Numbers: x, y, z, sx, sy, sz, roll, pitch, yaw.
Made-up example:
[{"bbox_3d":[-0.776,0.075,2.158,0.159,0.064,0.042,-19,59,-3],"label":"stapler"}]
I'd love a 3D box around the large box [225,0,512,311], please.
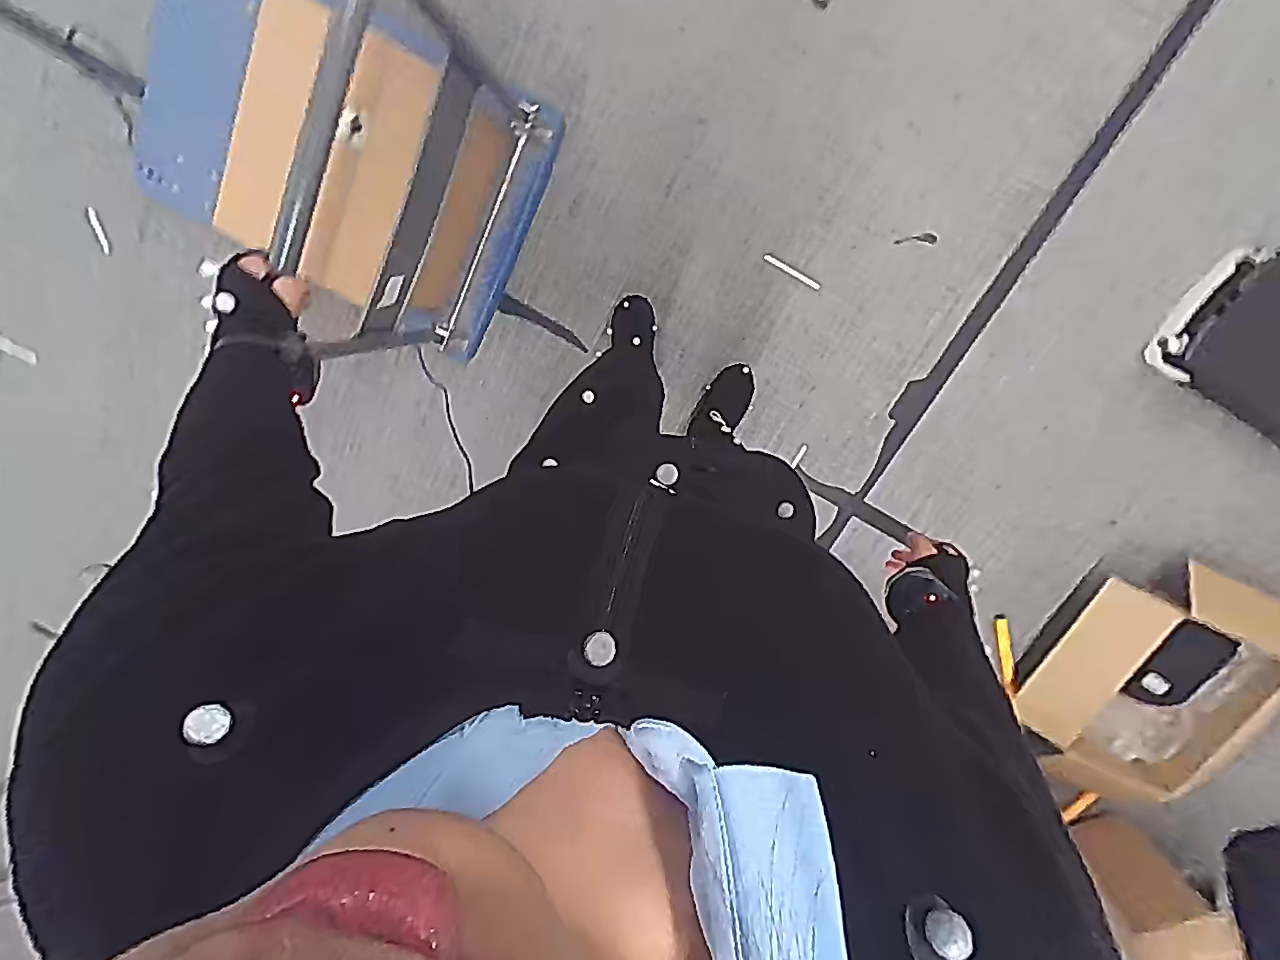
[{"bbox_3d":[-0.506,-0.587,1.057,0.320,0.320,0.408,29,107,-3],"label":"large box"}]
